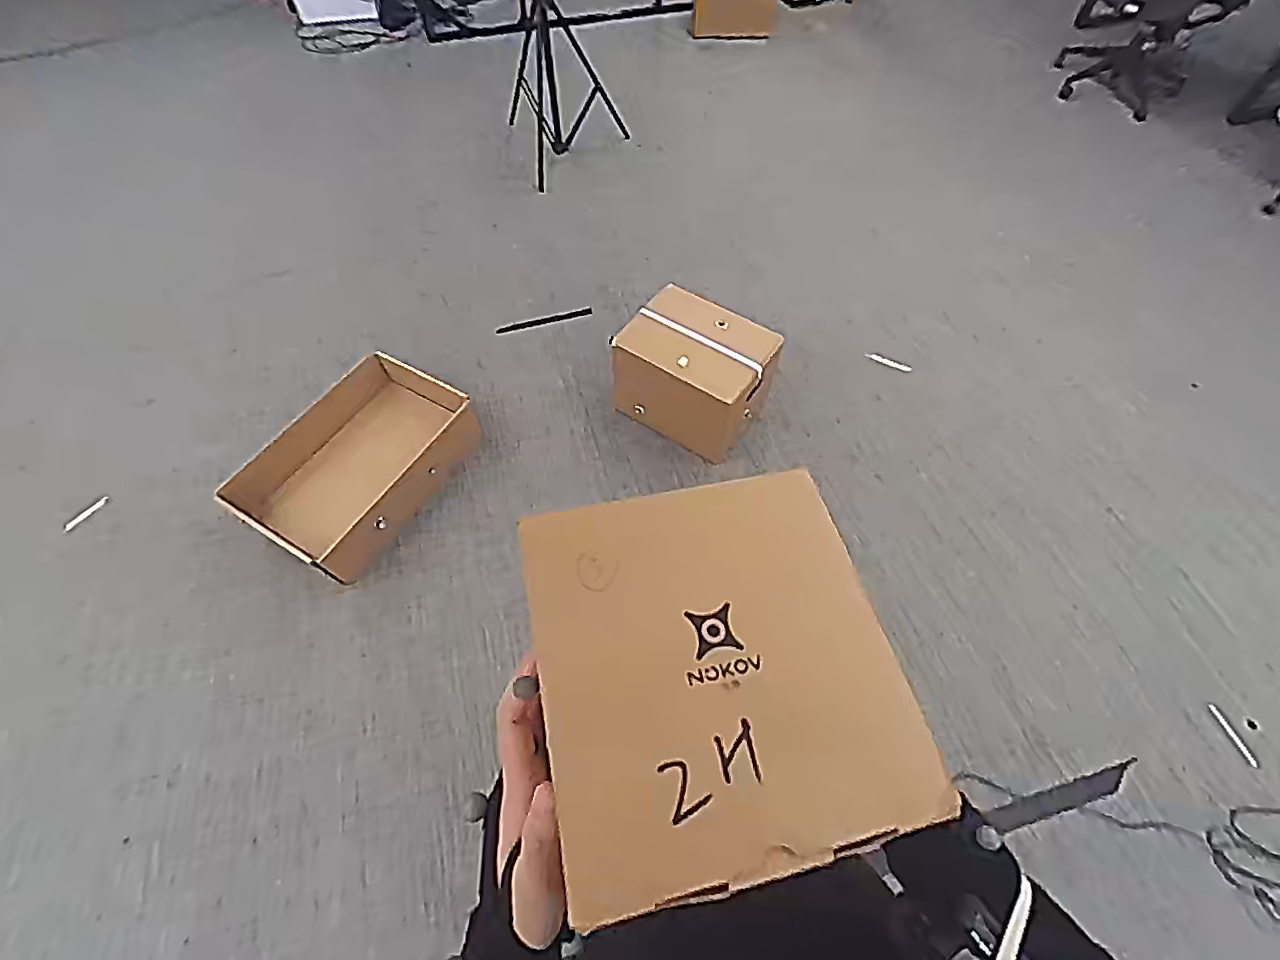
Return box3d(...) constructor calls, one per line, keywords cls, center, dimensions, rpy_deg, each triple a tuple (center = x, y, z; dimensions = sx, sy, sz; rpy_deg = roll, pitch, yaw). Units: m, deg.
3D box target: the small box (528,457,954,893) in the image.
box3d(cls="small box", center=(0.031, 0.113, 0.326), dimensions=(0.168, 0.176, 0.179), rpy_deg=(-10, 61, -10))
